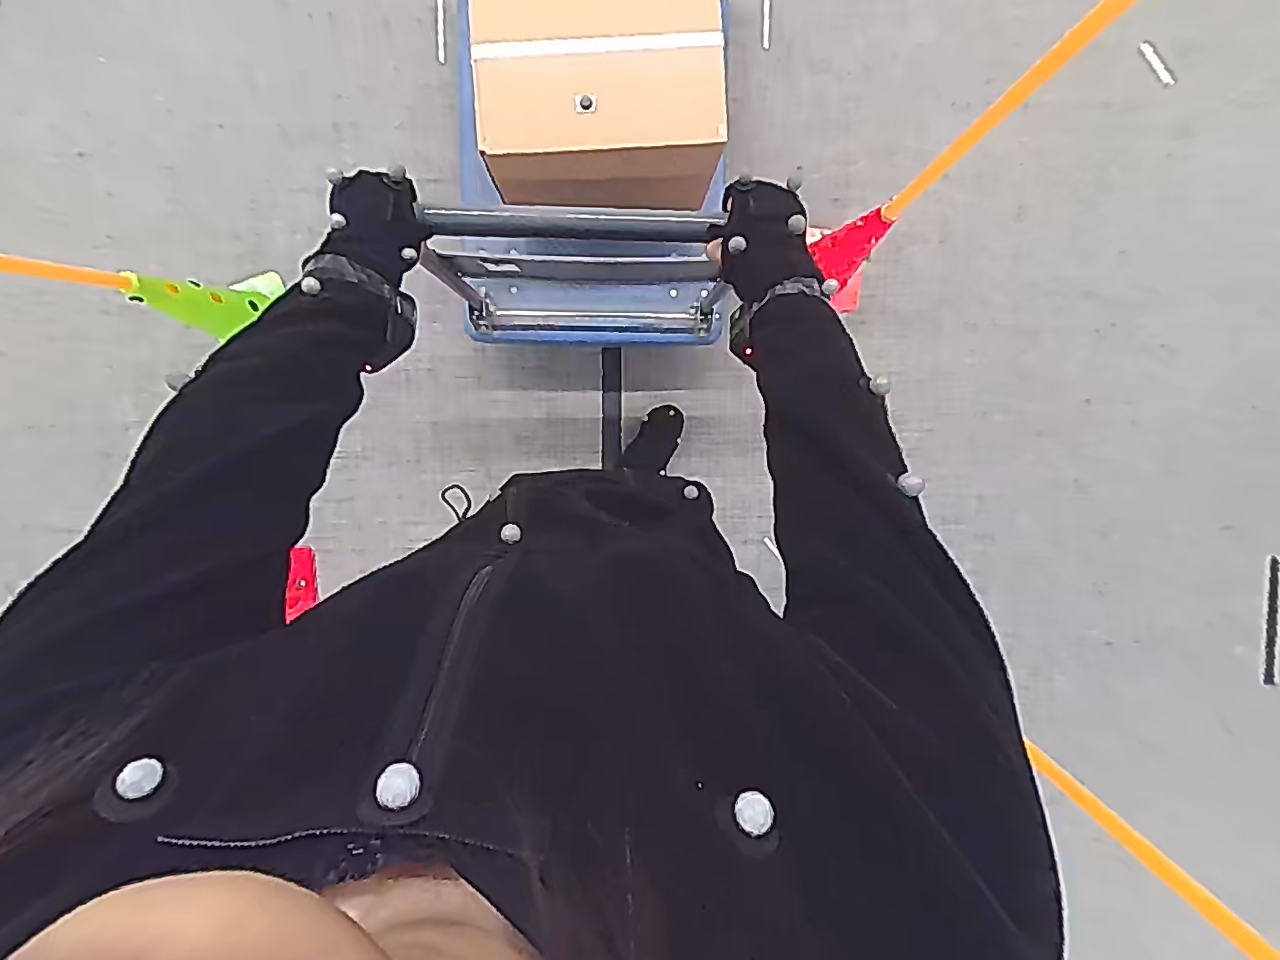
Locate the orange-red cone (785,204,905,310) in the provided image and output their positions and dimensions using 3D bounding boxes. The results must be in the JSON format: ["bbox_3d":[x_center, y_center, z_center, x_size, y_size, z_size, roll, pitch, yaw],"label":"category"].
[{"bbox_3d":[0.486,-0.529,1.213,0.199,0.360,0.198,6,95,-4],"label":"orange-red cone"}]
